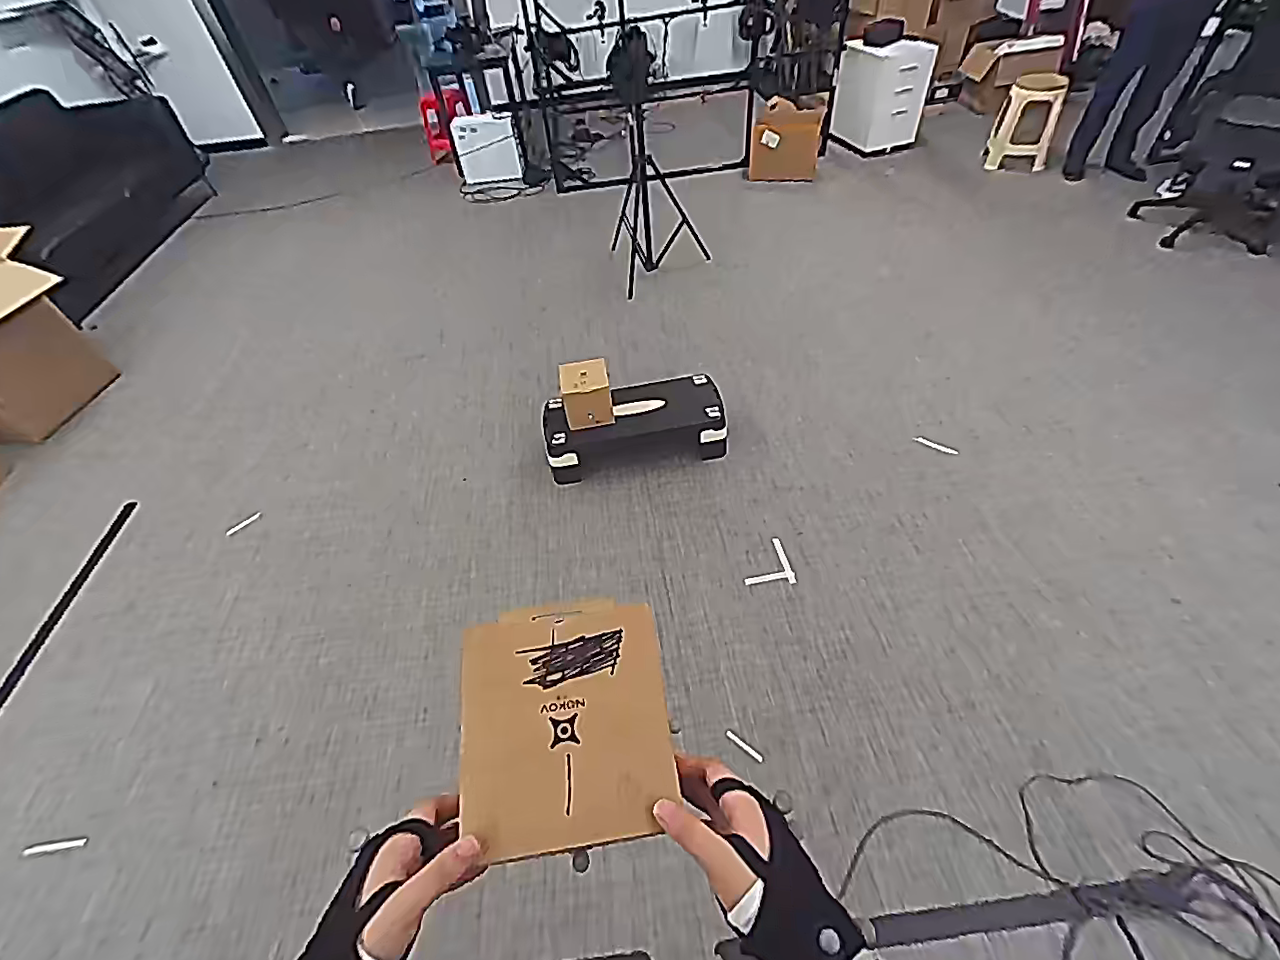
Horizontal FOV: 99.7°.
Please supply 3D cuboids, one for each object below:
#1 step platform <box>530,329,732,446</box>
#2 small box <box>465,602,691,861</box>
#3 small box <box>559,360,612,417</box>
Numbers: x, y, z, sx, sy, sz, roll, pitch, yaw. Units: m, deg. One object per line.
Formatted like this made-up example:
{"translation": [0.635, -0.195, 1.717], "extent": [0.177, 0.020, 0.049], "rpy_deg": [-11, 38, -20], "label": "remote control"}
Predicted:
{"translation": [-0.029, -0.321, 1.892], "extent": [0.684, 0.204, 0.286], "rpy_deg": [-10, 47, -3], "label": "step platform"}
{"translation": [-0.055, 0.234, 0.499], "extent": [0.168, 0.176, 0.179], "rpy_deg": [-7, 57, -5], "label": "small box"}
{"translation": [-0.195, -0.304, 1.944], "extent": [0.168, 0.176, 0.179], "rpy_deg": [-10, 48, -3], "label": "small box"}
